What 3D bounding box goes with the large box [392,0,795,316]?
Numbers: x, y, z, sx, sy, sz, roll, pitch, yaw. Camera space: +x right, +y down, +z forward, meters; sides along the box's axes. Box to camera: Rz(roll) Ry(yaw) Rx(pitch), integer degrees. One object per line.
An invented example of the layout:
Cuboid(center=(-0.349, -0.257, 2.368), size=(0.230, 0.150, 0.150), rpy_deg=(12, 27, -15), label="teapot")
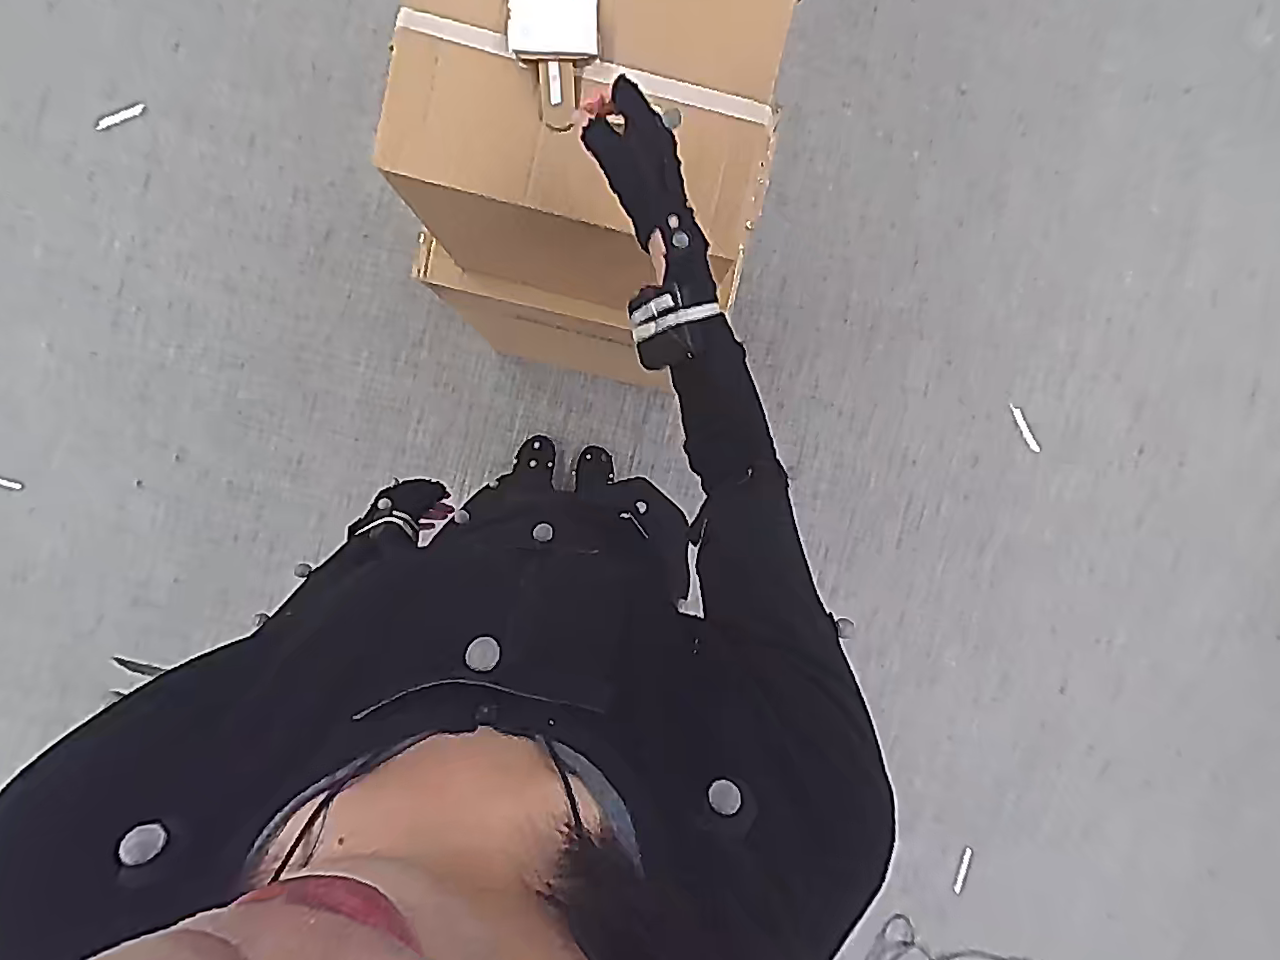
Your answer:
Cuboid(center=(-0.058, -0.455, 0.745), size=(0.408, 0.320, 0.320), rpy_deg=(13, 92, -4), label="large box")
